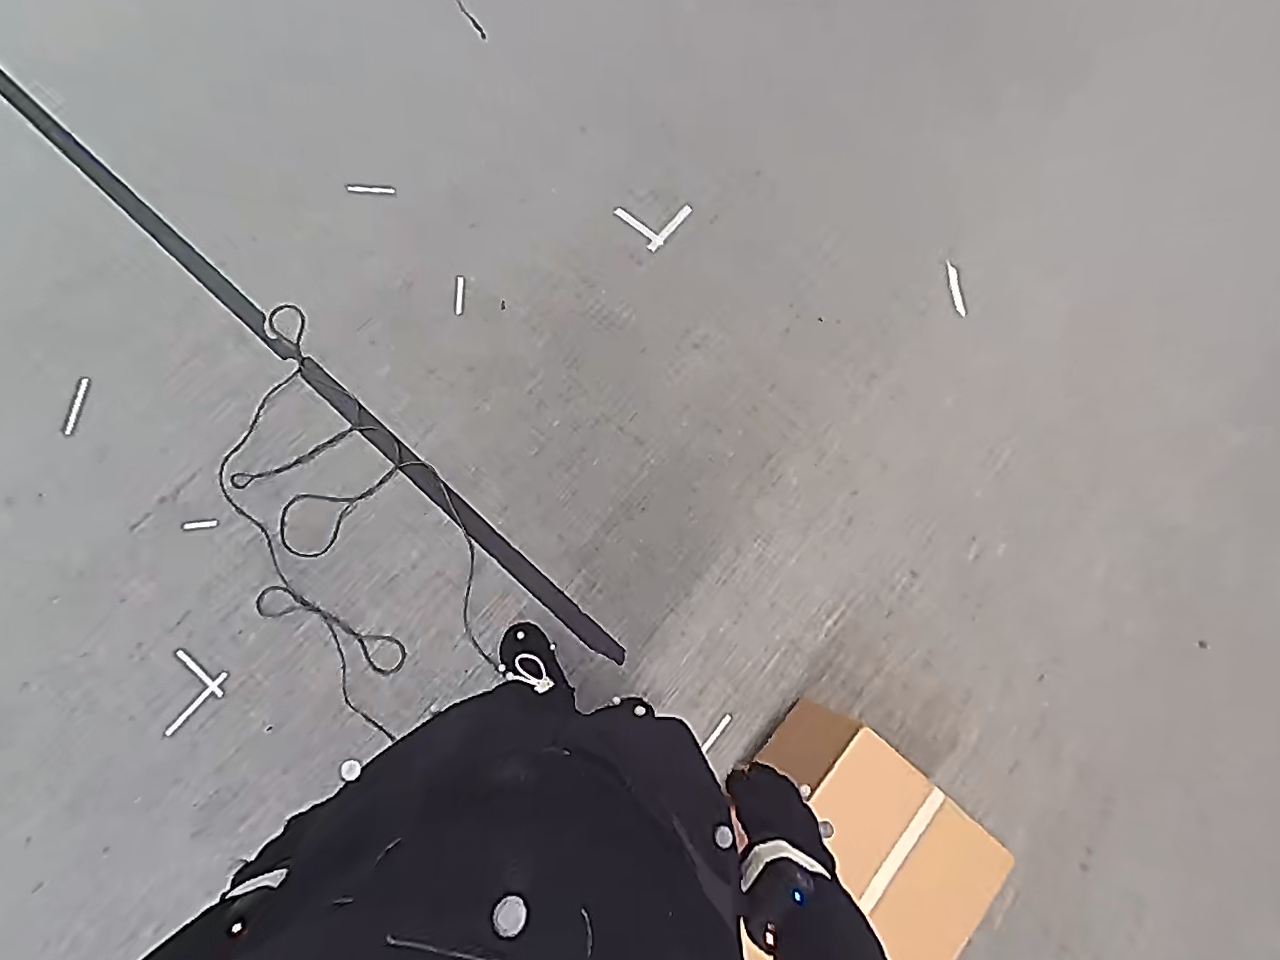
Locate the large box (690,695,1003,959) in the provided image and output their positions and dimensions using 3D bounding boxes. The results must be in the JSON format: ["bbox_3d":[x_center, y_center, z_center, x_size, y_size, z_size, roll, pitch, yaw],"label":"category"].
[{"bbox_3d":[0.347,0.681,1.004,0.320,0.320,0.408,41,78,6],"label":"large box"}]
